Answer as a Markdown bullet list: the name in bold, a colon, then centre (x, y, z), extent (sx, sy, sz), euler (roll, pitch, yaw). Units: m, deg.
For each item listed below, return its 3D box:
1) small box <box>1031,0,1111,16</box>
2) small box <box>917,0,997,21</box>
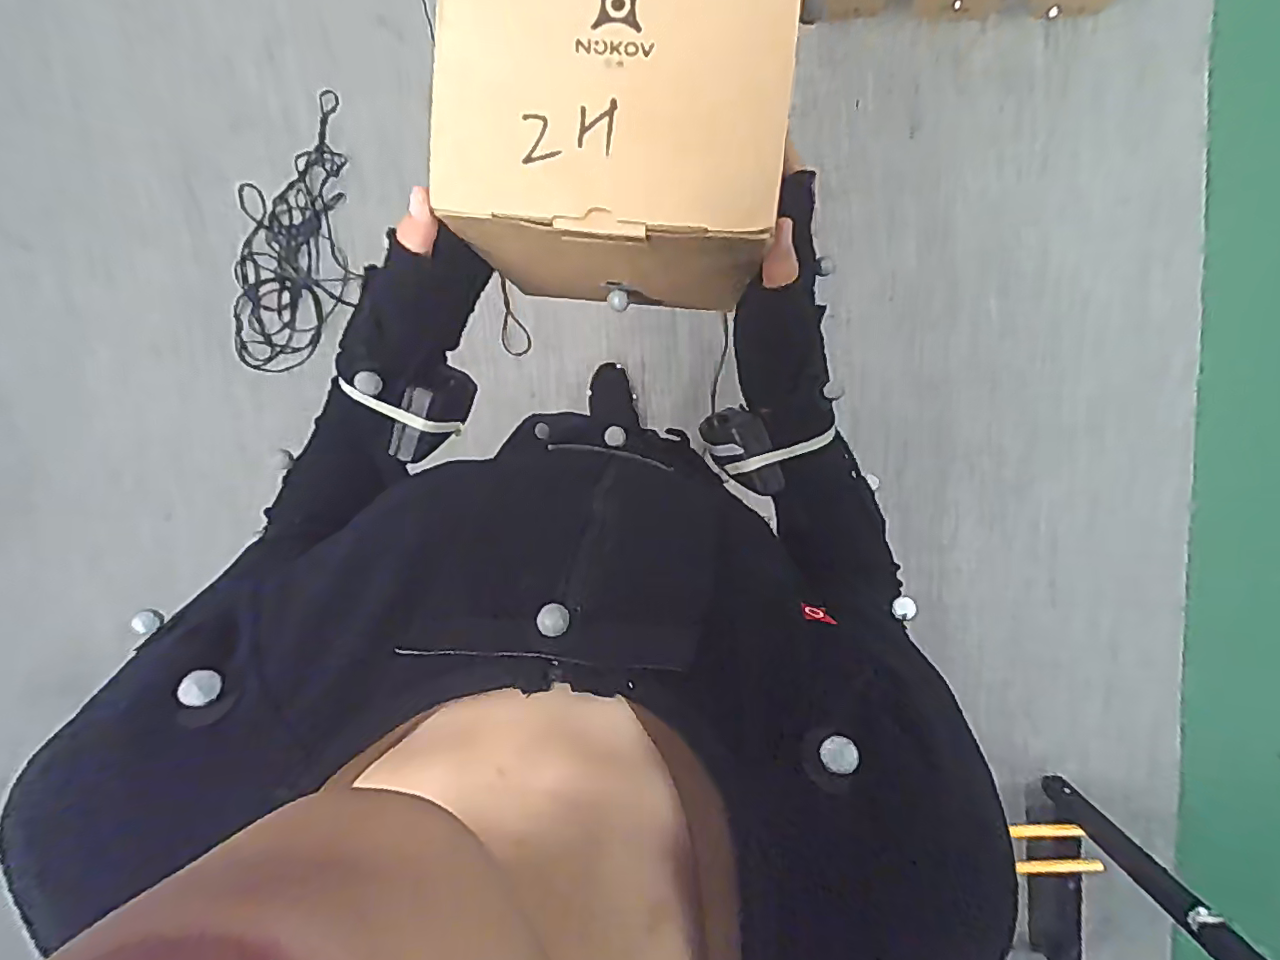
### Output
- **small box**: centre (1.019, -1.192, 1.217), extent (0.168, 0.176, 0.179), euler (-2, 96, 2)
- **small box**: centre (0.750, -1.196, 1.225), extent (0.168, 0.176, 0.179), euler (-1, 97, 2)
